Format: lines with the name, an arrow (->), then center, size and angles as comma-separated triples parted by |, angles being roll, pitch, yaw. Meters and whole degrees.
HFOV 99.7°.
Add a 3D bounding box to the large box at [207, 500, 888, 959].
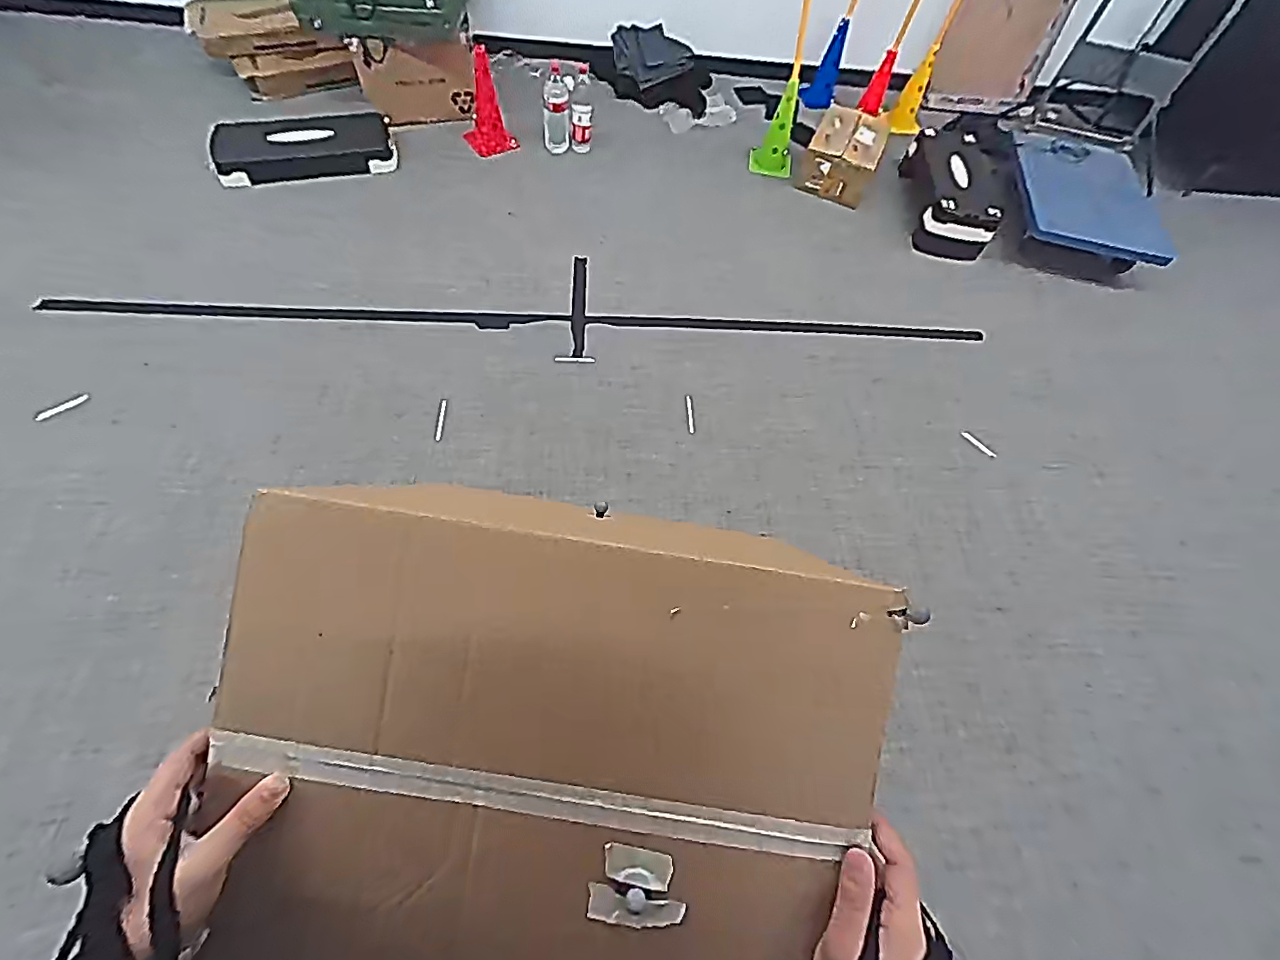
large box -> -0.060, 0.196, 0.492 | 0.408, 0.320, 0.320 | 9, 91, -1
